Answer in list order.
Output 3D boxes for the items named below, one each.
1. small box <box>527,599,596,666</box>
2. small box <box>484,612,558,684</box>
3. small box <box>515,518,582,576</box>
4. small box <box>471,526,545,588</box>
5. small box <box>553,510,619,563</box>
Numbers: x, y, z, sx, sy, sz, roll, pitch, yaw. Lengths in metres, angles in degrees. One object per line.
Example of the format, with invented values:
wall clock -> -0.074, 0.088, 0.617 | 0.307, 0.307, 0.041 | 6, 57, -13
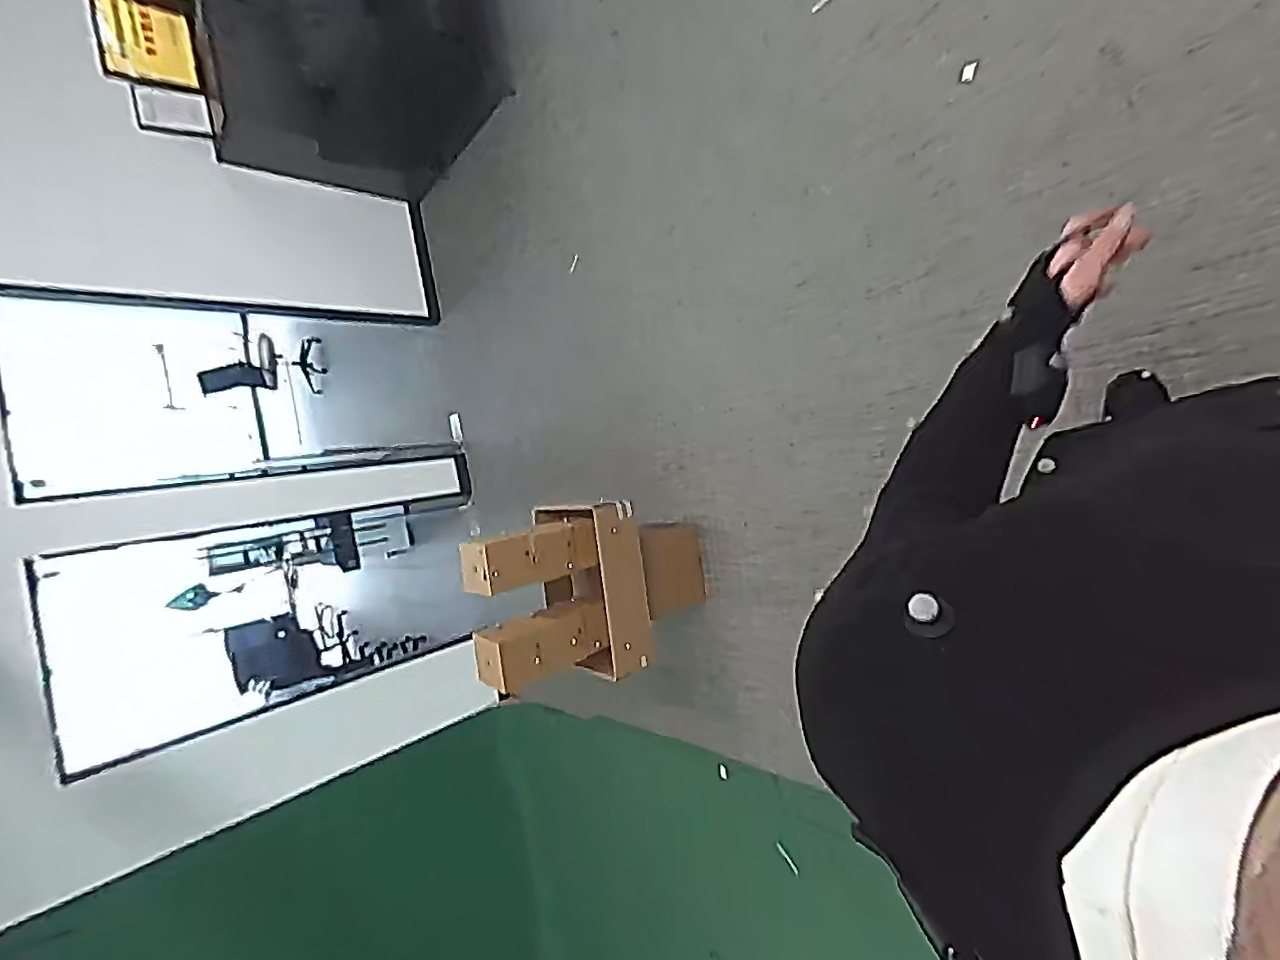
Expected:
small box -> -0.279, 0.532, 1.917 | 0.179, 0.176, 0.168 | 0, 98, 47
small box -> -0.397, 0.552, 1.807 | 0.179, 0.176, 0.168 | -1, 98, 47
small box -> -0.314, 0.229, 1.898 | 0.179, 0.176, 0.168 | -1, 96, 47
small box -> -0.437, 0.250, 1.792 | 0.179, 0.176, 0.168 | -6, 93, 47
small box -> -0.200, 0.206, 2.015 | 0.179, 0.176, 0.168 | -3, 95, 47
